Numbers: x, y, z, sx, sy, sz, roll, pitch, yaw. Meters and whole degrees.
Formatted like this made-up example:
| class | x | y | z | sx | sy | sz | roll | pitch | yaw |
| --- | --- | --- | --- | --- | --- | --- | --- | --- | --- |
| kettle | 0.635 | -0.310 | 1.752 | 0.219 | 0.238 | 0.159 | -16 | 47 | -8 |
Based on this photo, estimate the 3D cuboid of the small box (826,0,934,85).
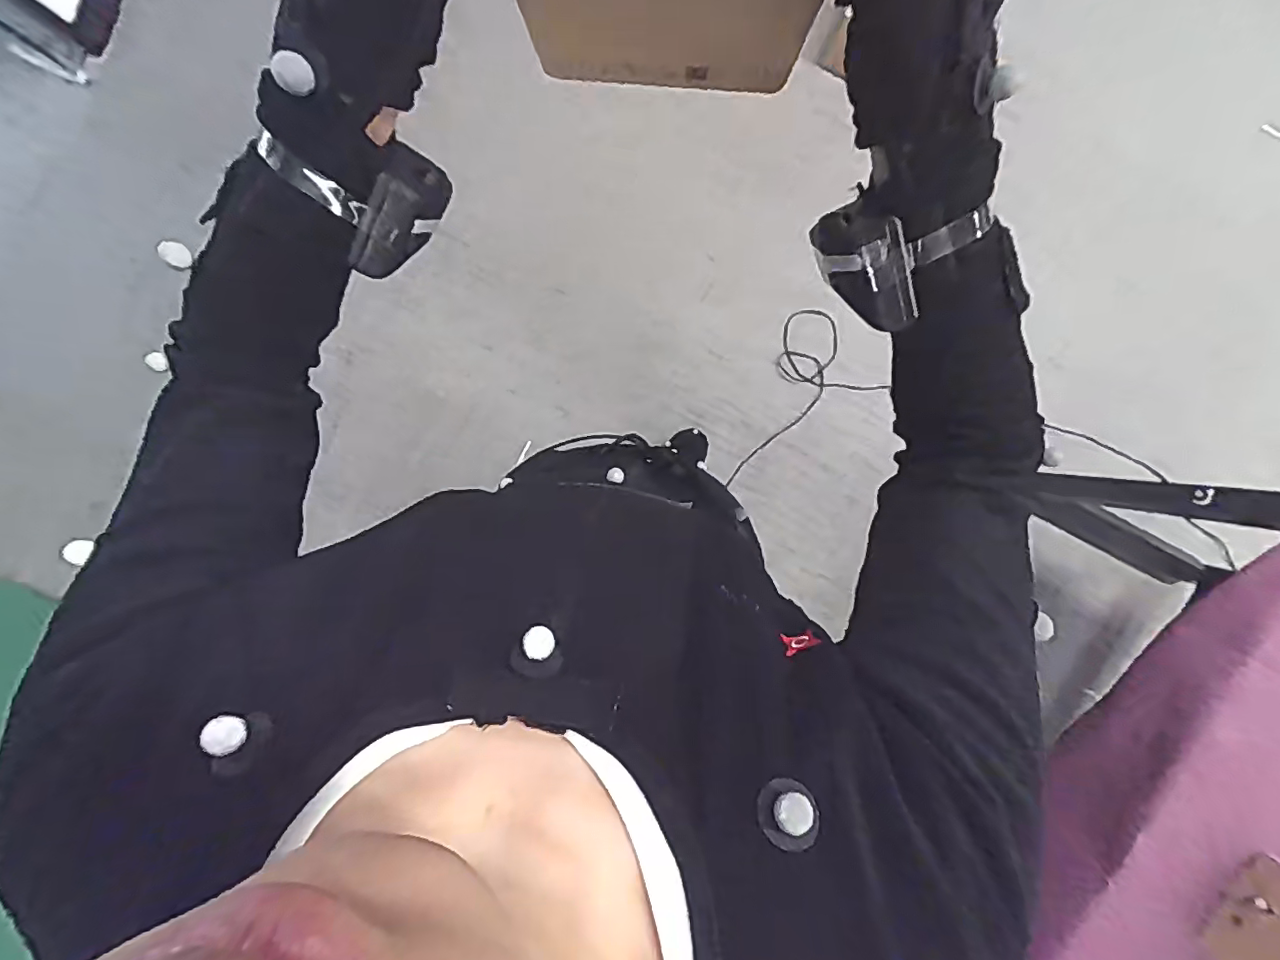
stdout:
| class | x | y | z | sx | sy | sz | roll | pitch | yaw |
| --- | --- | --- | --- | --- | --- | --- | --- | --- | --- |
| small box | 0.580 | -1.111 | 1.307 | 0.179 | 0.176 | 0.168 | 26 | 94 | -2 |

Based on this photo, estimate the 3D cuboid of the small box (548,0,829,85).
| class | x | y | z | sx | sy | sz | roll | pitch | yaw |
| --- | --- | --- | --- | --- | --- | --- | --- | --- | --- |
| small box | 0.029 | -0.345 | 0.270 | 0.168 | 0.176 | 0.179 | 6 | 101 | 1 |
